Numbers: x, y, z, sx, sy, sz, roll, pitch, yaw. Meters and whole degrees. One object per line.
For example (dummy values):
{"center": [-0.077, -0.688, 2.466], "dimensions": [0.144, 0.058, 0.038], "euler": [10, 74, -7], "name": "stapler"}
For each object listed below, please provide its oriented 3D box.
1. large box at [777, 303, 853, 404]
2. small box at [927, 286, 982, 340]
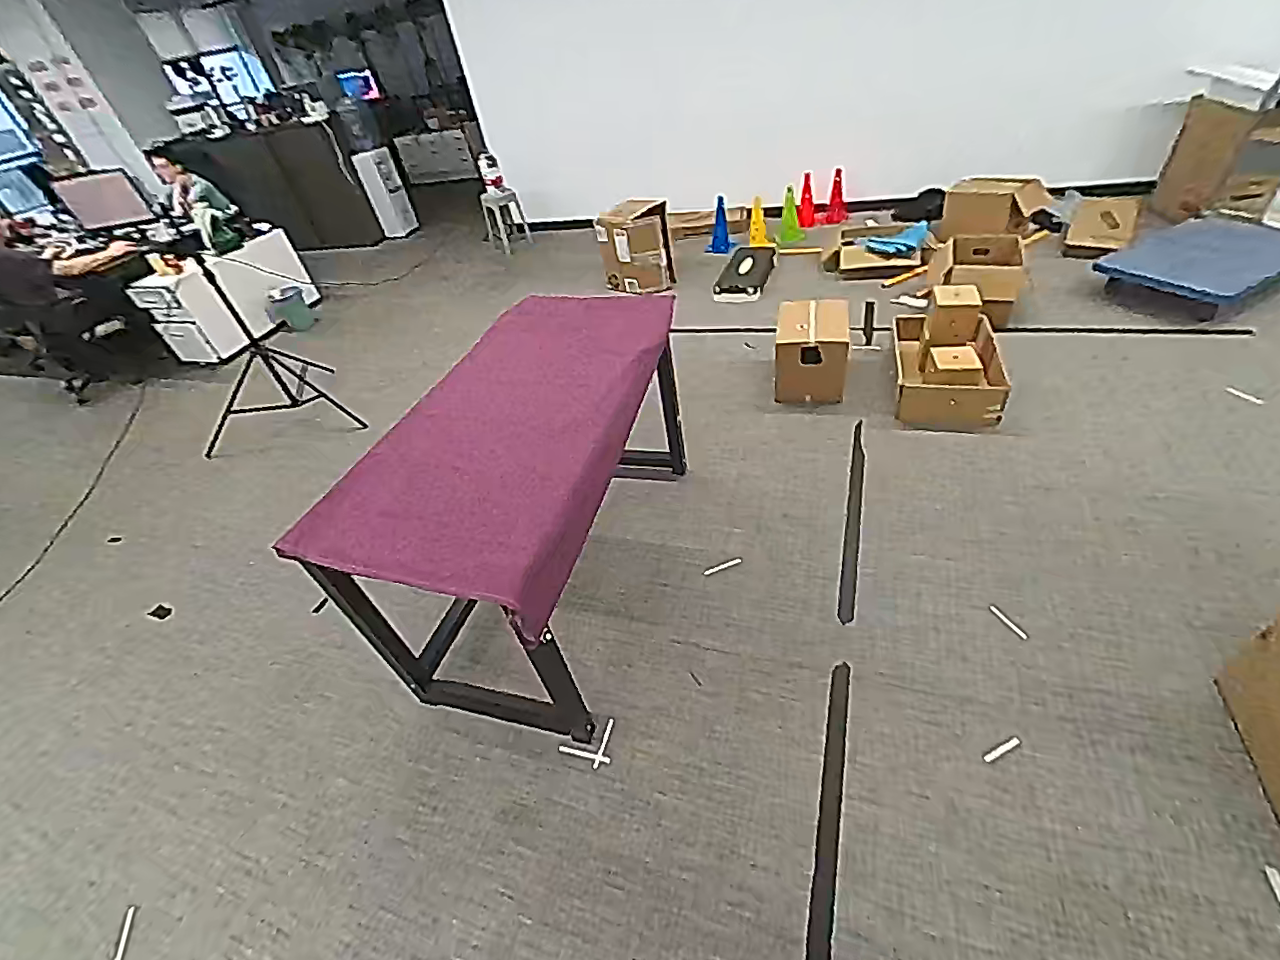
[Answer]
{"center": [0.816, -0.600, 2.558], "dimensions": [0.320, 0.320, 0.408], "euler": [2, 44, 16], "name": "large box"}
{"center": [1.361, -0.724, 2.351], "dimensions": [0.168, 0.176, 0.179], "euler": [5, 46, 16], "name": "small box"}
